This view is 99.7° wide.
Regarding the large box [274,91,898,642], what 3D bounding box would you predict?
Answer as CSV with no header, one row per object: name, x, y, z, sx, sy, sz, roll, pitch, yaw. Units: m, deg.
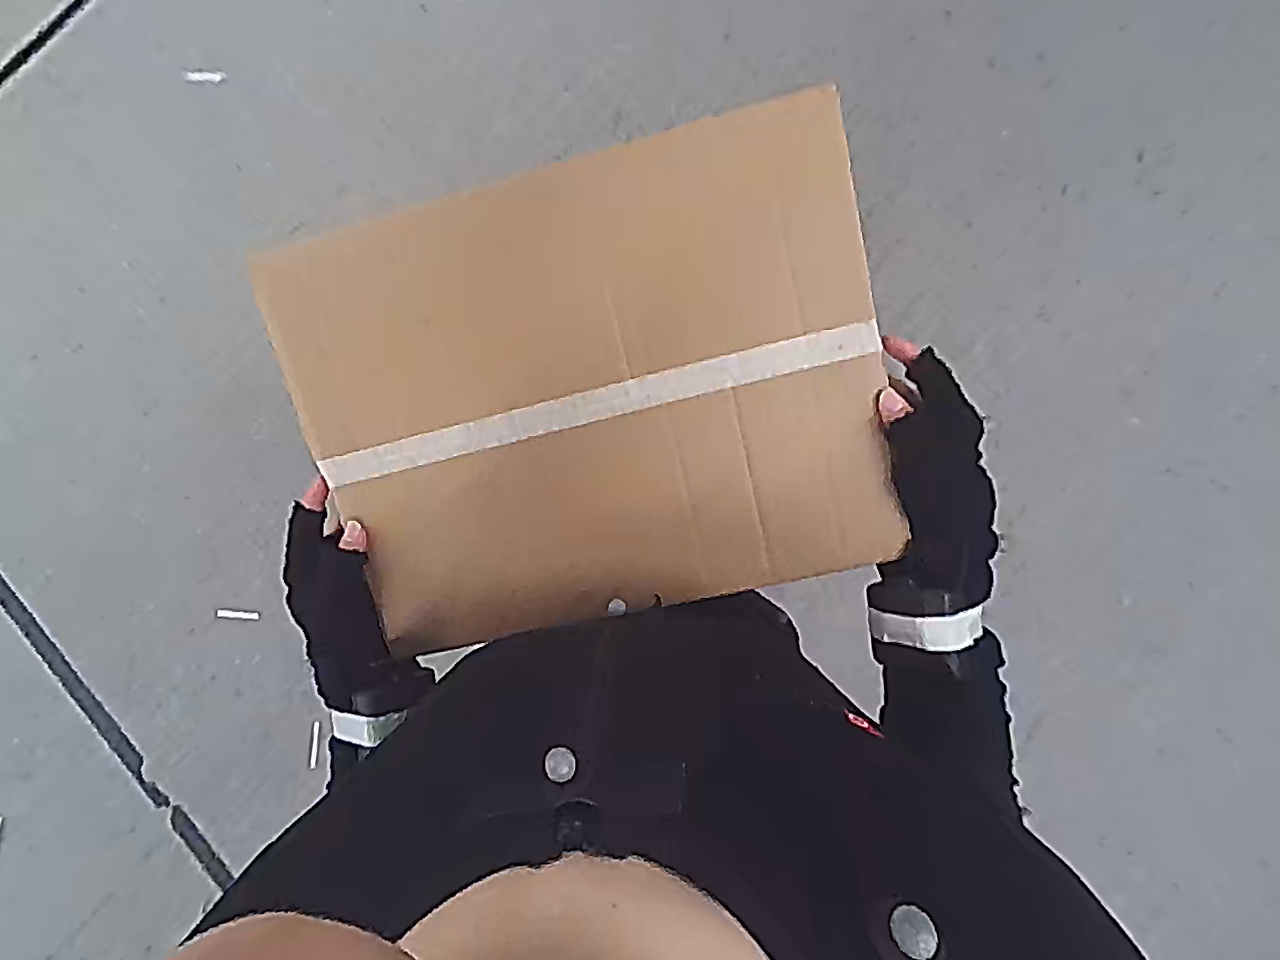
large box,-0.029,-0.086,0.535,0.408,0.320,0.320,-13,101,6
